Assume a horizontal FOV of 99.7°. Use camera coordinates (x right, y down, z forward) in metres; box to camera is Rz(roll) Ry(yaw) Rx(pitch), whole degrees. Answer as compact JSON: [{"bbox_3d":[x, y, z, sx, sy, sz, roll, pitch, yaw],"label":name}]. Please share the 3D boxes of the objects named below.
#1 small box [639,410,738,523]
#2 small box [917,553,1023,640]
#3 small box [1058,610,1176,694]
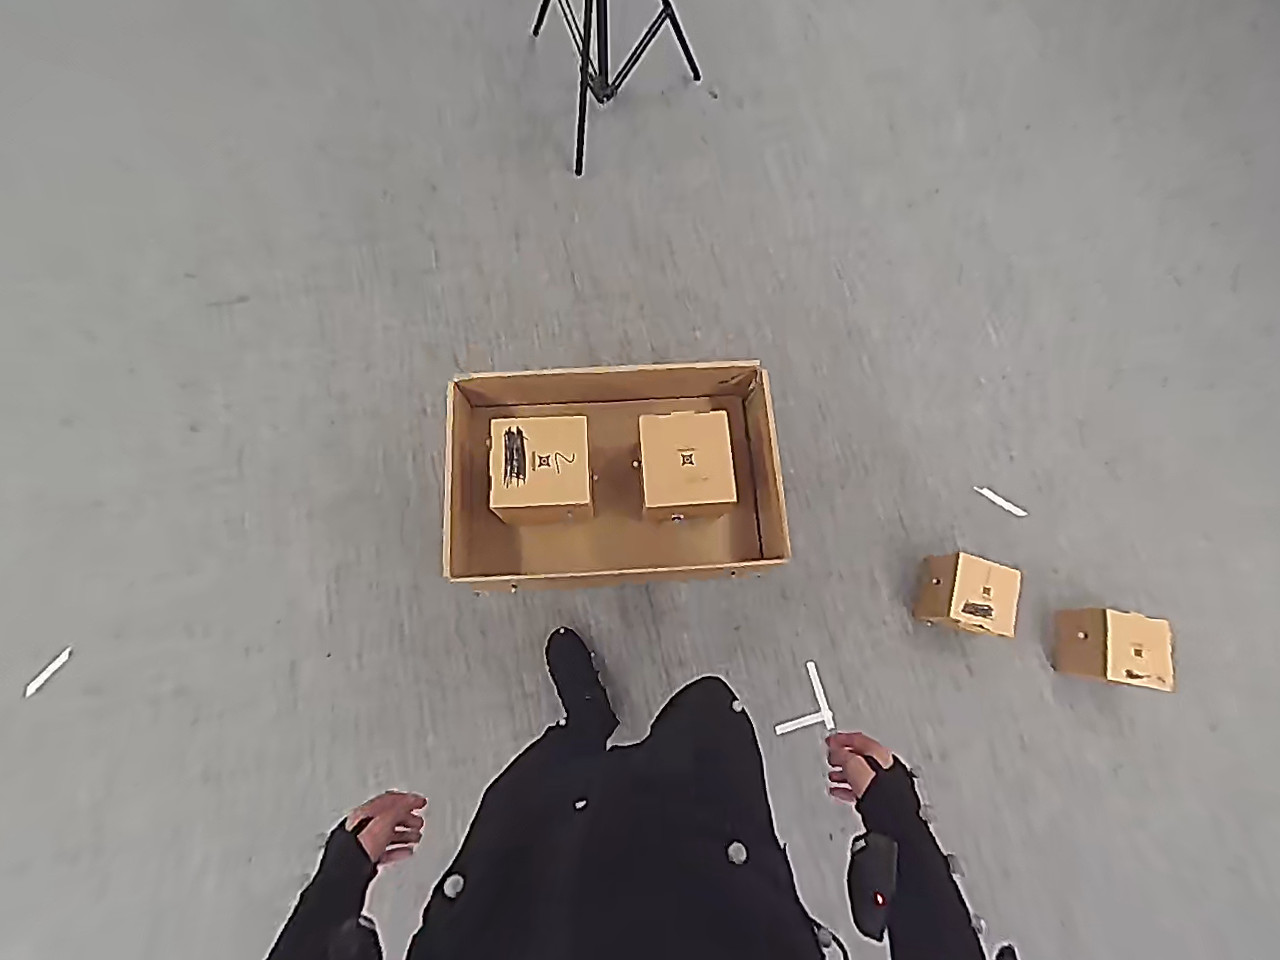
[{"bbox_3d":[0.085,-0.021,1.053,0.168,0.176,0.179,-4,74,-2],"label":"small box"},{"bbox_3d":[0.867,0.310,1.435,0.168,0.176,0.179,18,75,2],"label":"small box"},{"bbox_3d":[1.239,0.446,1.416,0.168,0.176,0.179,12,75,1],"label":"small box"}]
